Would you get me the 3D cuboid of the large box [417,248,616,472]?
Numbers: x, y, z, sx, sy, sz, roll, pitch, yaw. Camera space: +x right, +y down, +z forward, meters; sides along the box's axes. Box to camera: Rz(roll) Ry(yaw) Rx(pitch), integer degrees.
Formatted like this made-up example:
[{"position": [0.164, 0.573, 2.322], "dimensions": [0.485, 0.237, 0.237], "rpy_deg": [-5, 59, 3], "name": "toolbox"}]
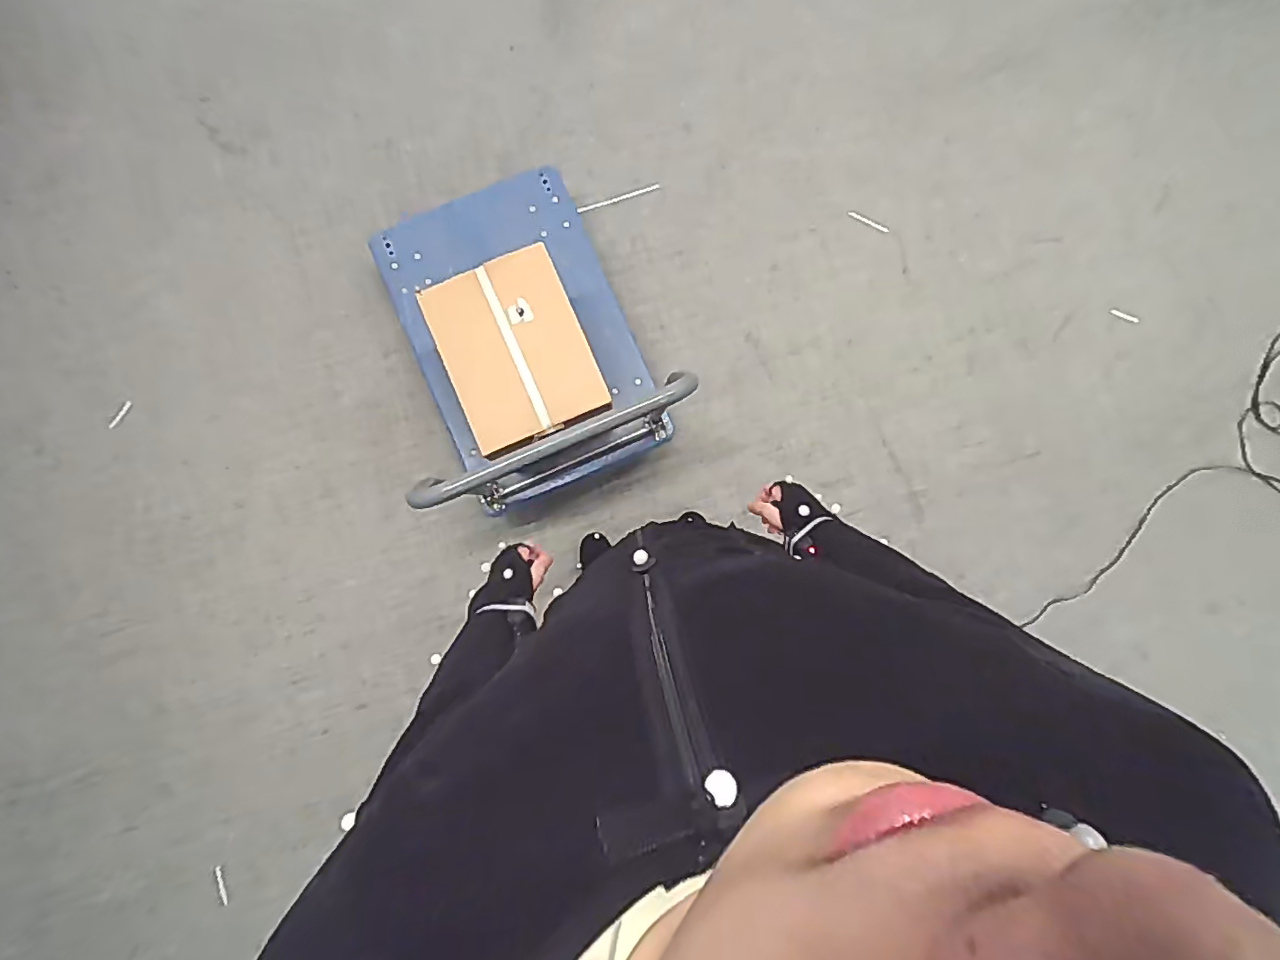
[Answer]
[{"position": [-0.281, -0.273, 1.349], "dimensions": [0.320, 0.320, 0.408], "rpy_deg": [-24, 85, -4], "name": "large box"}]
